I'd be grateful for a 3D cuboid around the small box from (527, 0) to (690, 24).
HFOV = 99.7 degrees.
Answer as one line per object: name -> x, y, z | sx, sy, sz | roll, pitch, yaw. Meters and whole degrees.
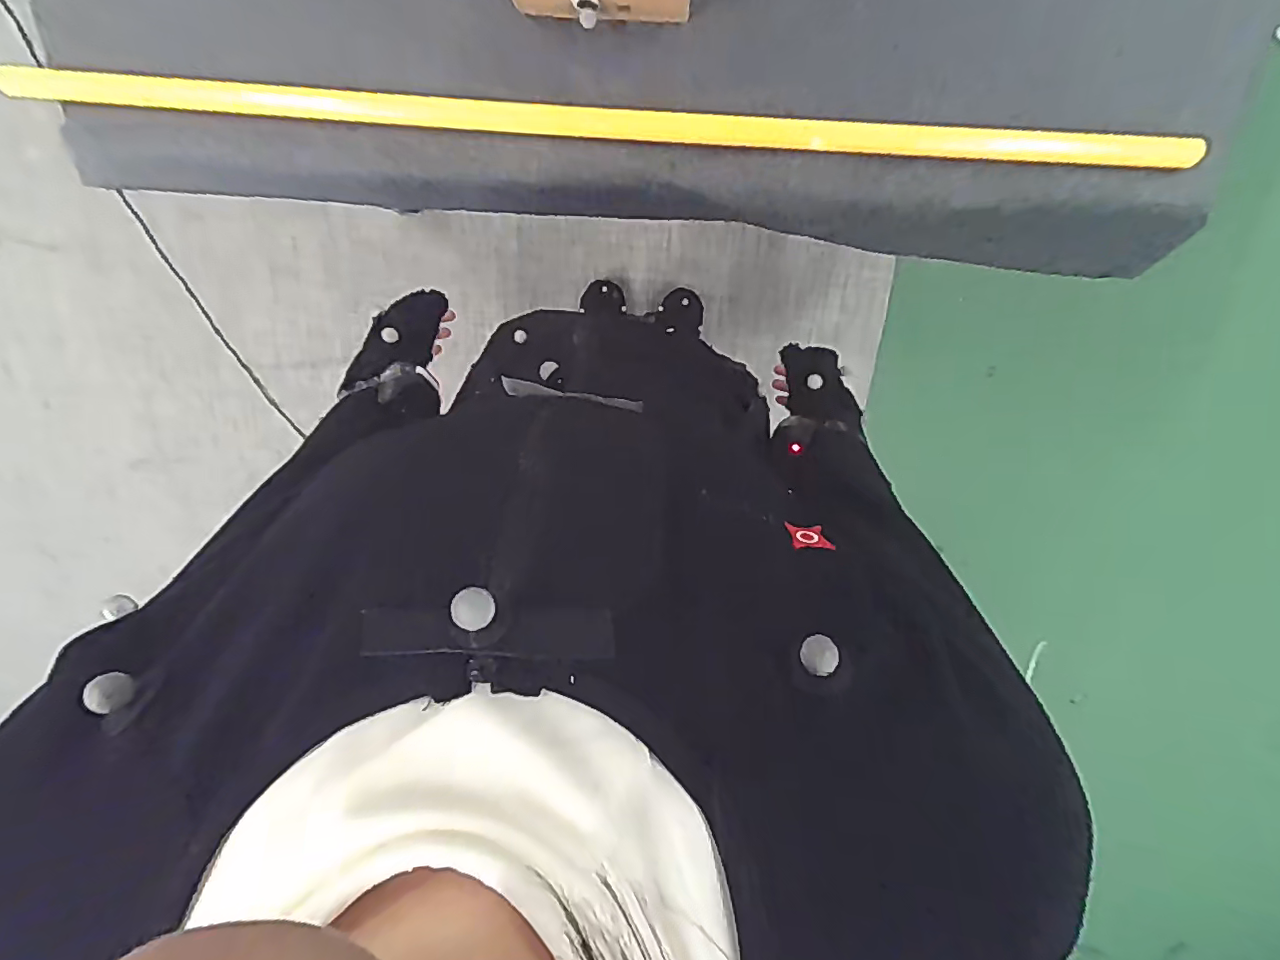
small box -> -0.034, -0.506, 0.428 | 0.168, 0.176, 0.179 | 3, 112, 3
